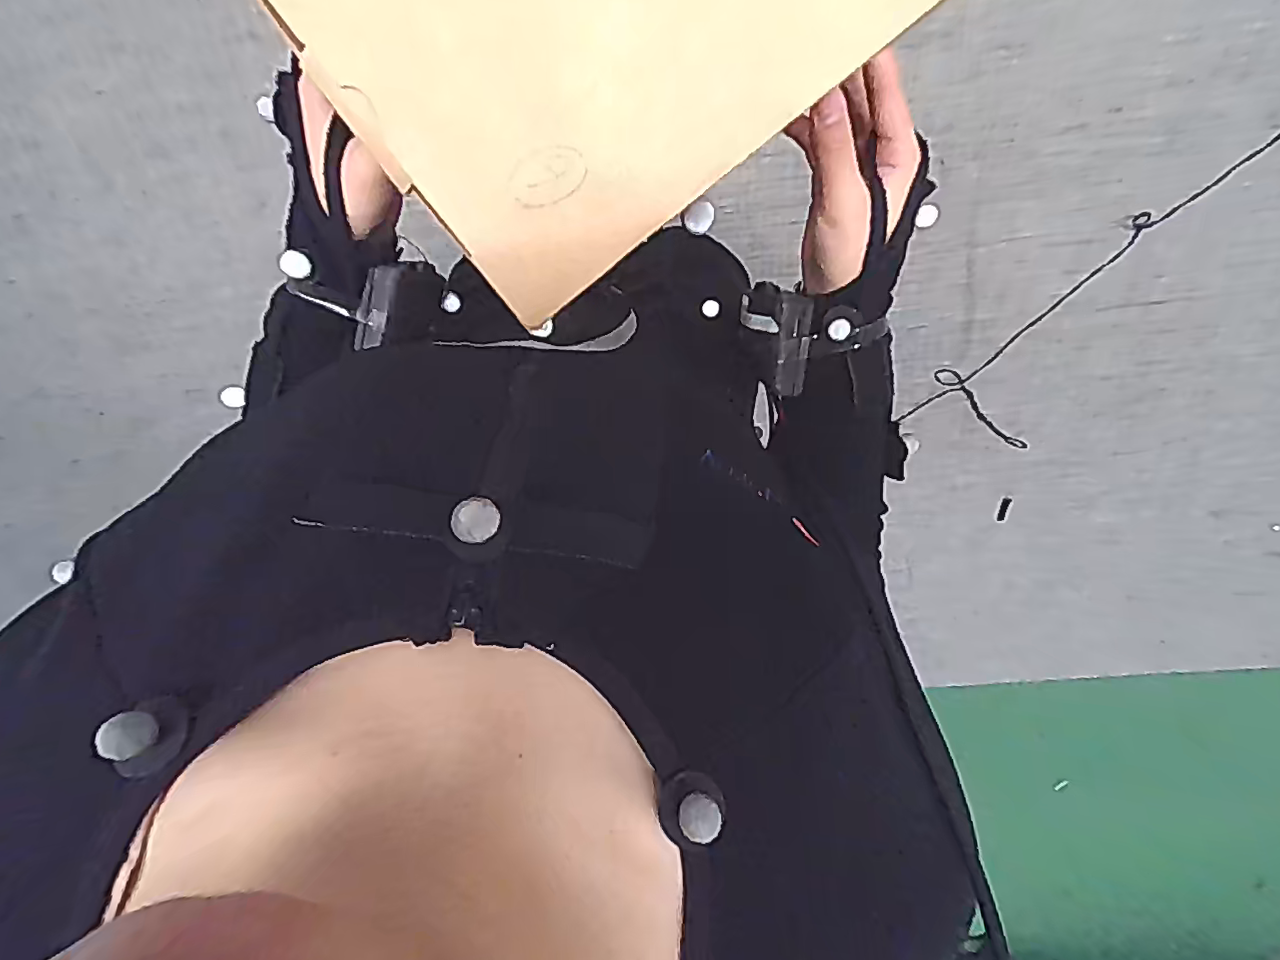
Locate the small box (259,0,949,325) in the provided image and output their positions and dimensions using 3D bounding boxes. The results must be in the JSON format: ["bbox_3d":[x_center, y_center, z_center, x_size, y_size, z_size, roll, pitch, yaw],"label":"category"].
[{"bbox_3d":[-0.013,-0.192,0.215,0.179,0.176,0.168,-32,110,20],"label":"small box"}]
